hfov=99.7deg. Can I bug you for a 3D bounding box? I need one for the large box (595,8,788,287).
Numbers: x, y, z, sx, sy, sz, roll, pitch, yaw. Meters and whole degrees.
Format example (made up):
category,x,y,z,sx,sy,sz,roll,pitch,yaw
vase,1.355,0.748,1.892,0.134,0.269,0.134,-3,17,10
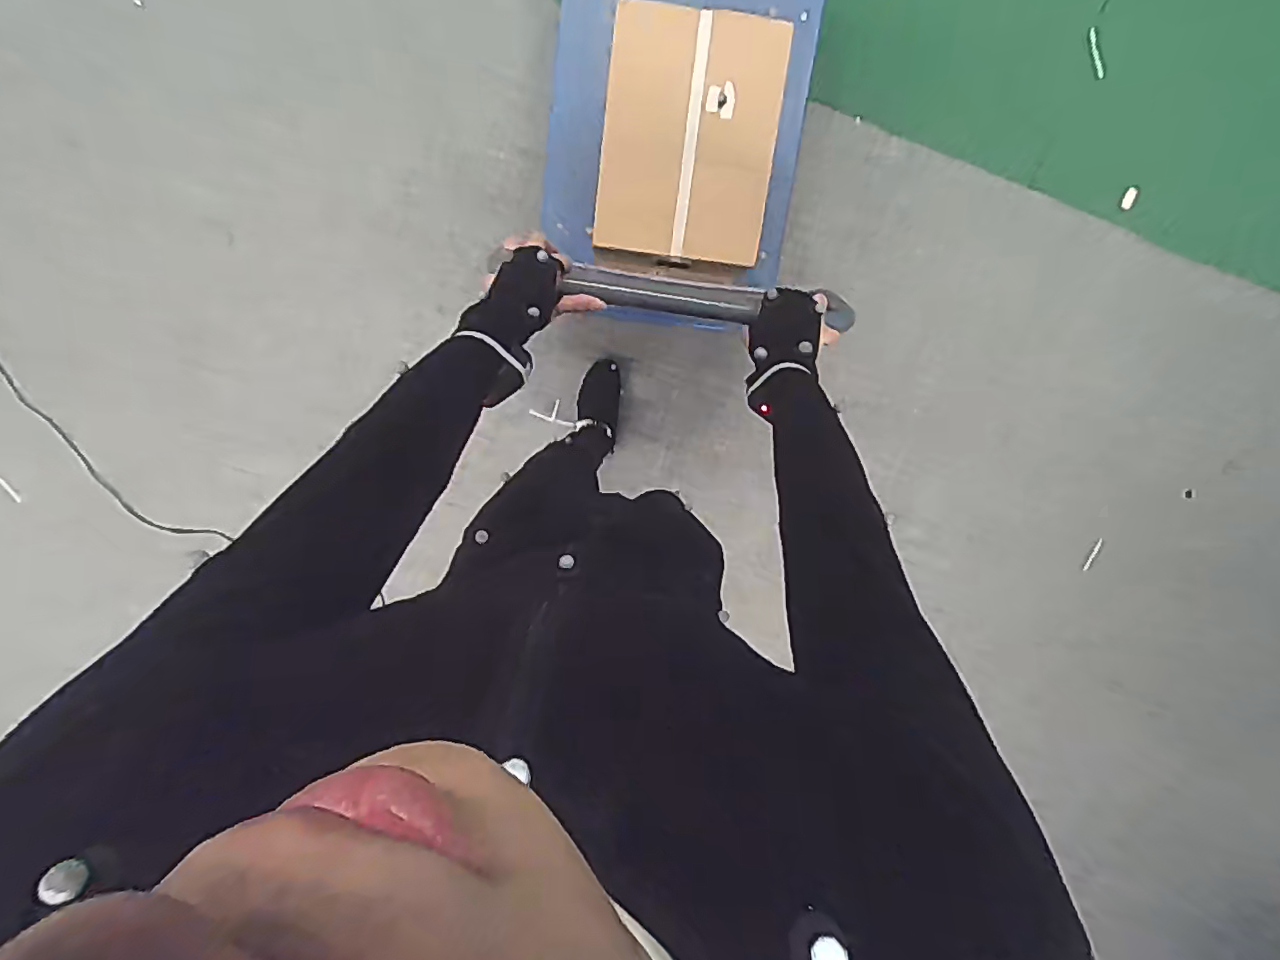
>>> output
category,x,y,z,sx,sy,sz,roll,pitch,yaw
large box,0.089,-0.647,1.136,0.320,0.320,0.408,7,102,-3
